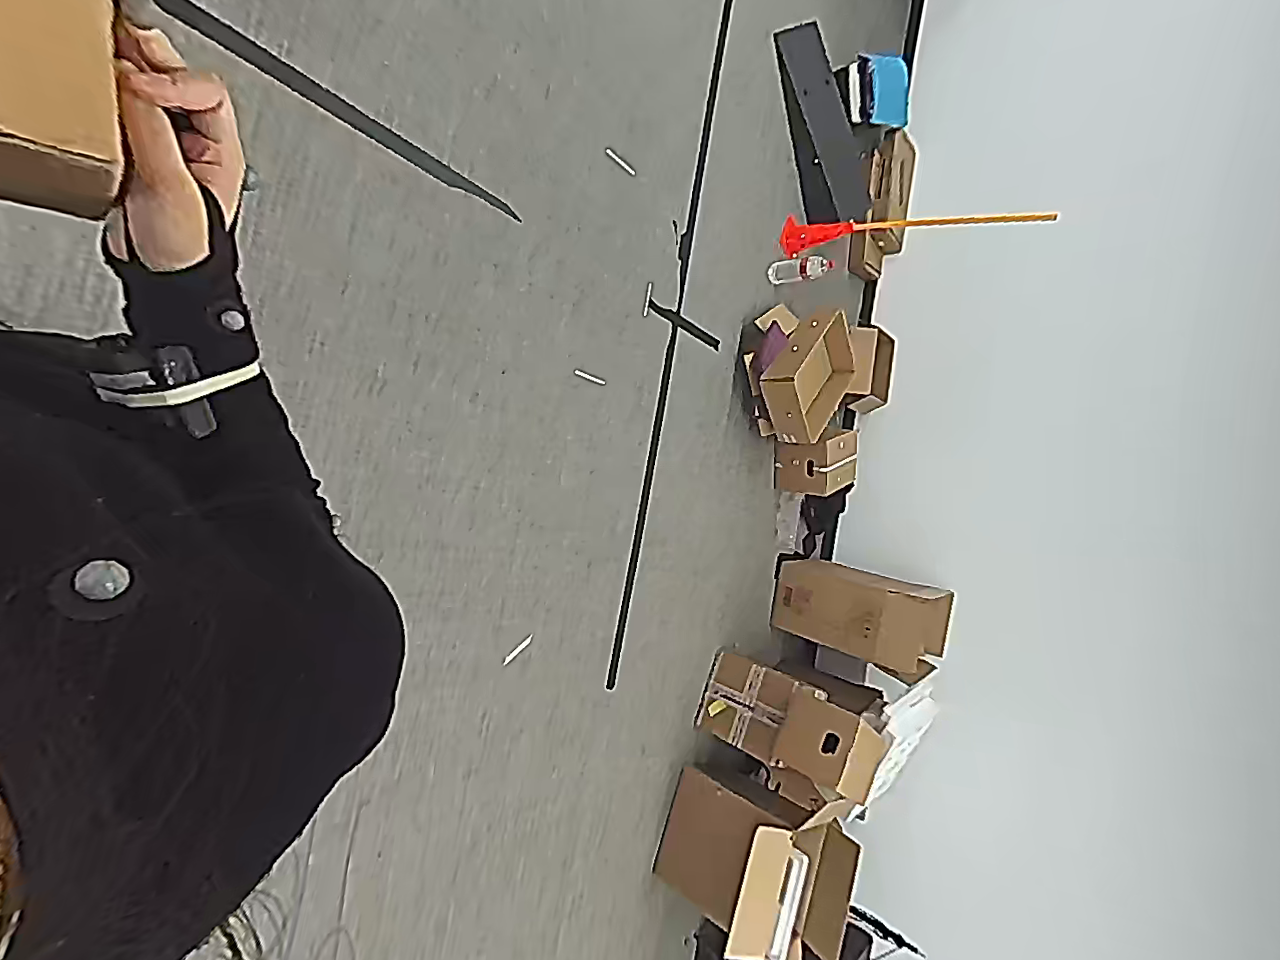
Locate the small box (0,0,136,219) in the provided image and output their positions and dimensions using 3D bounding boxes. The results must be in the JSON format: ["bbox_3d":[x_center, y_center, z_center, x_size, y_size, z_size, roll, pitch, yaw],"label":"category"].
[{"bbox_3d":[-0.318,-0.226,0.214,0.168,0.176,0.179,-2,104,-44],"label":"small box"}]
